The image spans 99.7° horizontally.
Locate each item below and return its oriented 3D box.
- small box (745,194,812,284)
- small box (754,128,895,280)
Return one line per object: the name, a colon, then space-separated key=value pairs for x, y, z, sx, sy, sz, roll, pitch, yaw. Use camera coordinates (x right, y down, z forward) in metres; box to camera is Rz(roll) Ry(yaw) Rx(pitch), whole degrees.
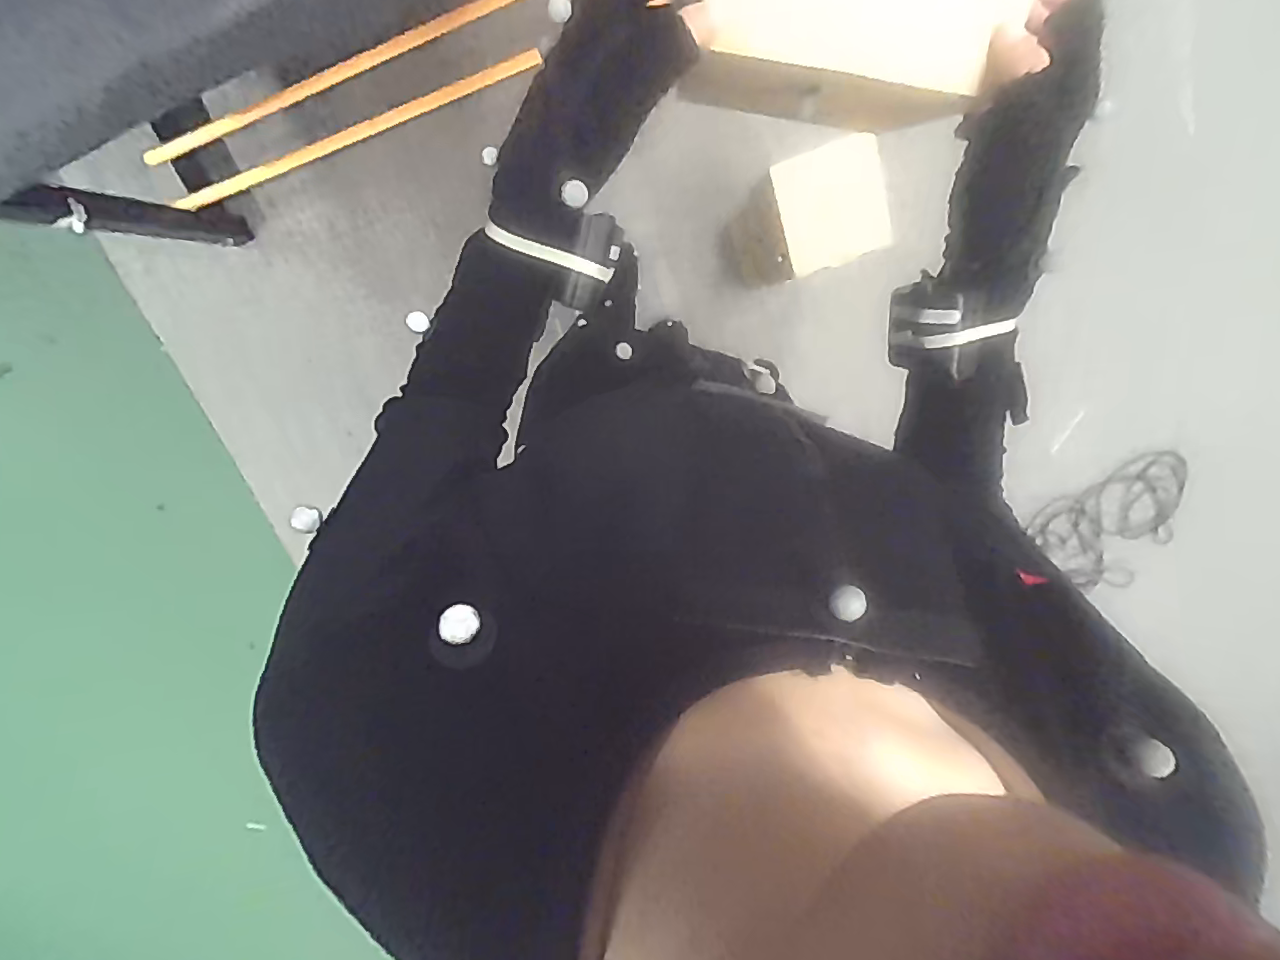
small box: x=0.322 y=-0.505 z=1.075 sx=0.168 sy=0.176 sz=0.179 roll=-21 pitch=106 yaw=8
small box: x=0.304 y=-0.454 z=0.921 sx=0.168 sy=0.176 sz=0.179 roll=-18 pitch=108 yaw=8
